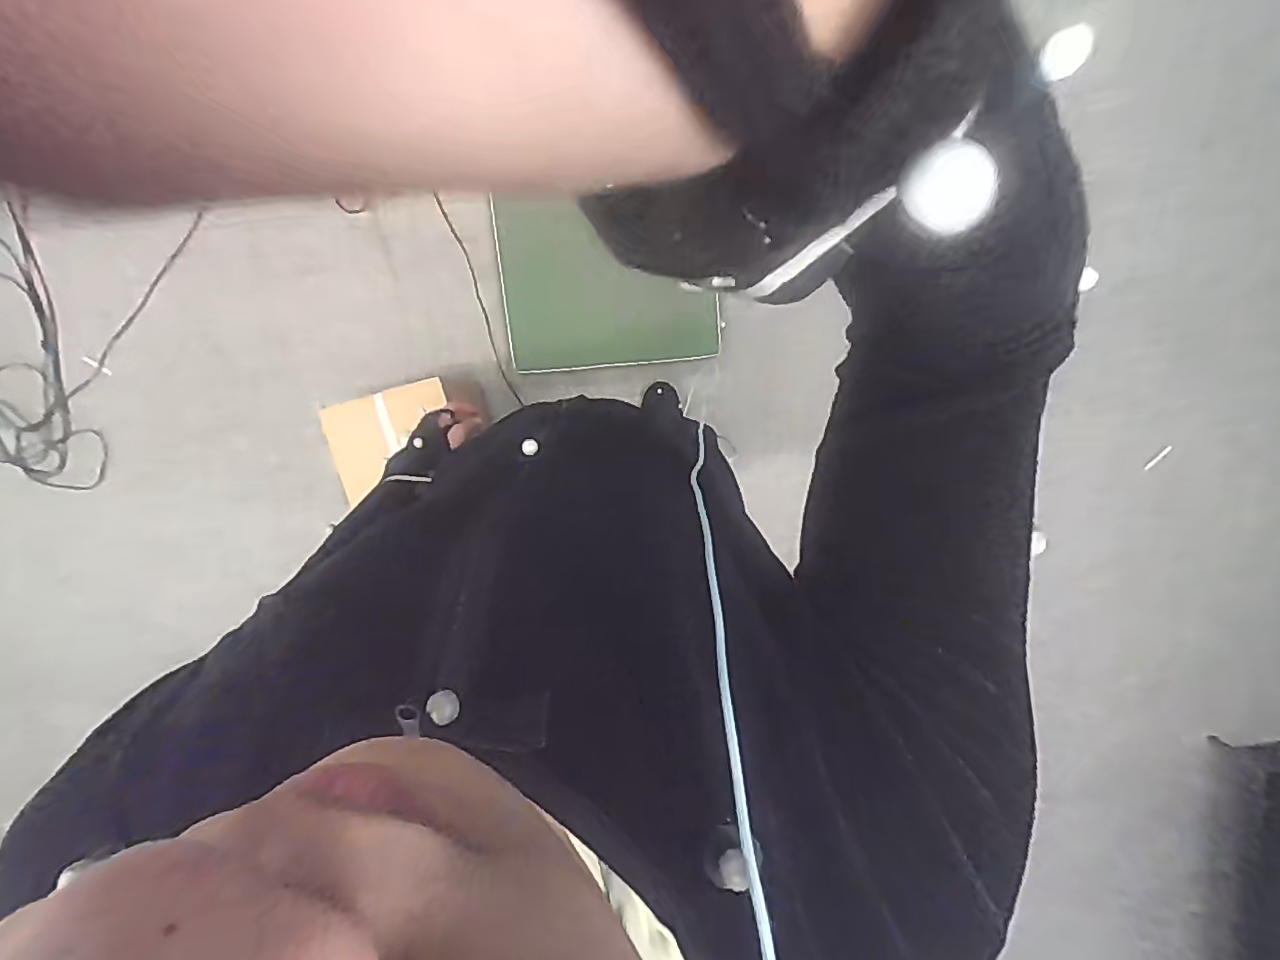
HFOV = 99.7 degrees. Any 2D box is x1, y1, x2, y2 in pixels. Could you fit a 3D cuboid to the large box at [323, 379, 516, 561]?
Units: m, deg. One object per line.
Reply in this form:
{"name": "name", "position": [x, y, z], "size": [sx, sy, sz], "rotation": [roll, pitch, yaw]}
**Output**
{"name": "large box", "position": [-0.575, -0.039, 1.485], "size": [0.320, 0.320, 0.408], "rotation": [-14, 98, 2]}
